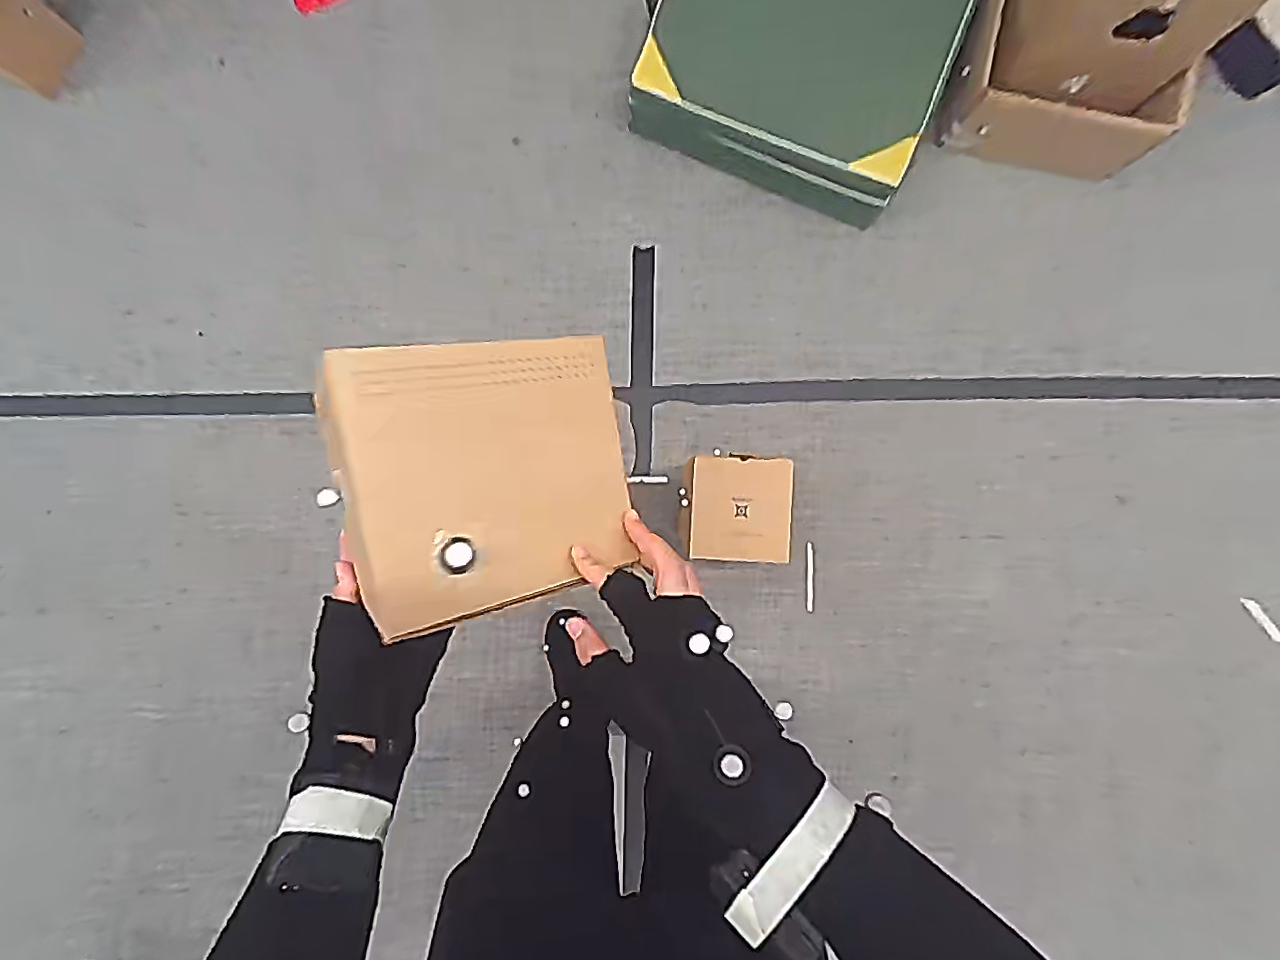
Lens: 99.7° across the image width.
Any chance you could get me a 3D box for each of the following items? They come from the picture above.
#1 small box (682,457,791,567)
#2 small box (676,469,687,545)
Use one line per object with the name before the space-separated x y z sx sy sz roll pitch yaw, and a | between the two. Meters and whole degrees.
small box | 0.166 0.055 0.982 0.168 0.176 0.179 4 89 1
small box | 0.176 0.057 1.145 0.179 0.176 0.168 4 87 -1
